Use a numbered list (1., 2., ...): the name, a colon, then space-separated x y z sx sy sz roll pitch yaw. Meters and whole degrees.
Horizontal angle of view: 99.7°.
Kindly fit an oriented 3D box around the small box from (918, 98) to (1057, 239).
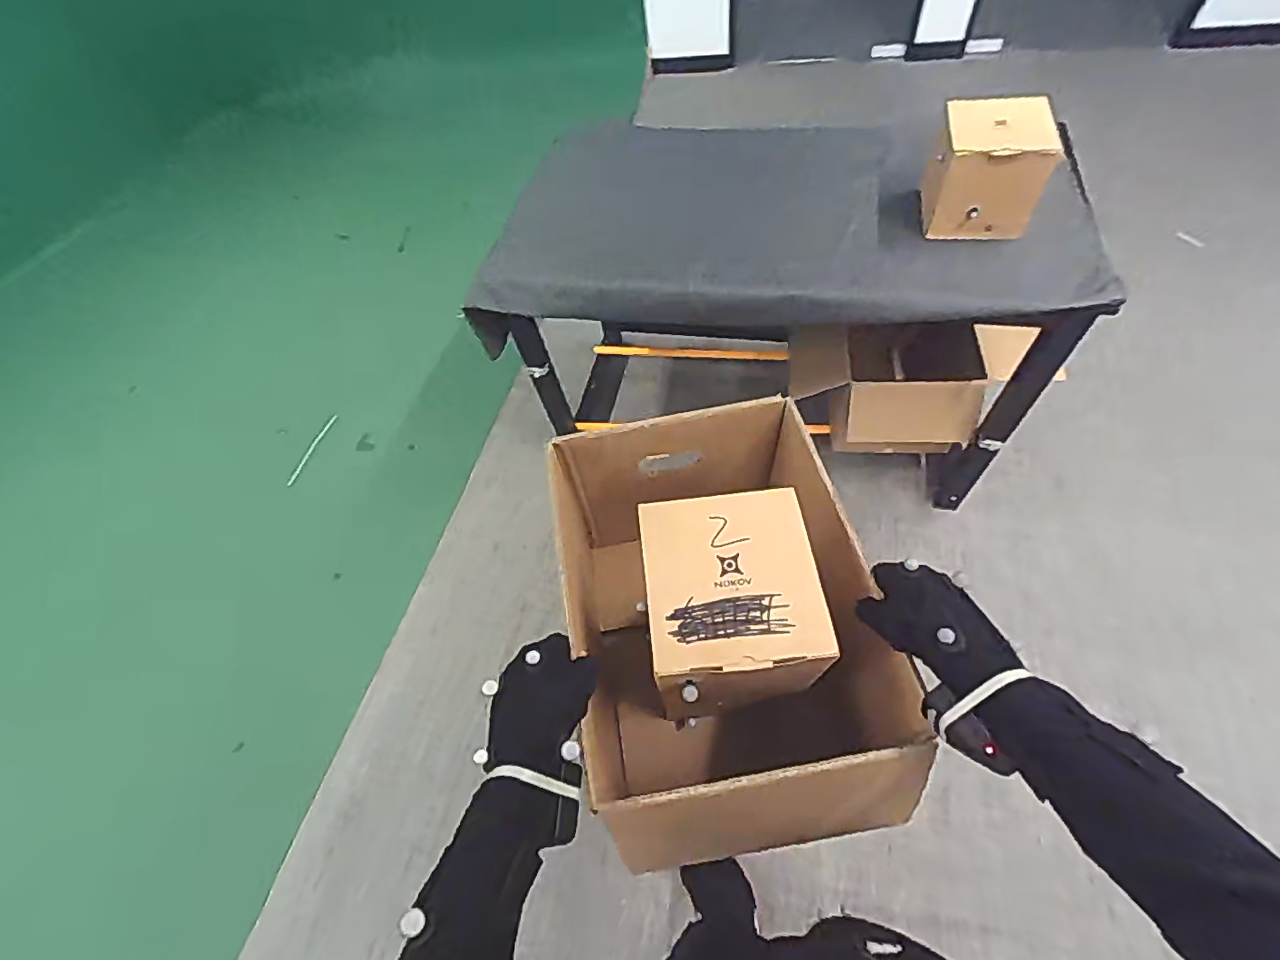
1. small box: 0.634 -0.580 1.014 0.168 0.176 0.179 6 60 13
